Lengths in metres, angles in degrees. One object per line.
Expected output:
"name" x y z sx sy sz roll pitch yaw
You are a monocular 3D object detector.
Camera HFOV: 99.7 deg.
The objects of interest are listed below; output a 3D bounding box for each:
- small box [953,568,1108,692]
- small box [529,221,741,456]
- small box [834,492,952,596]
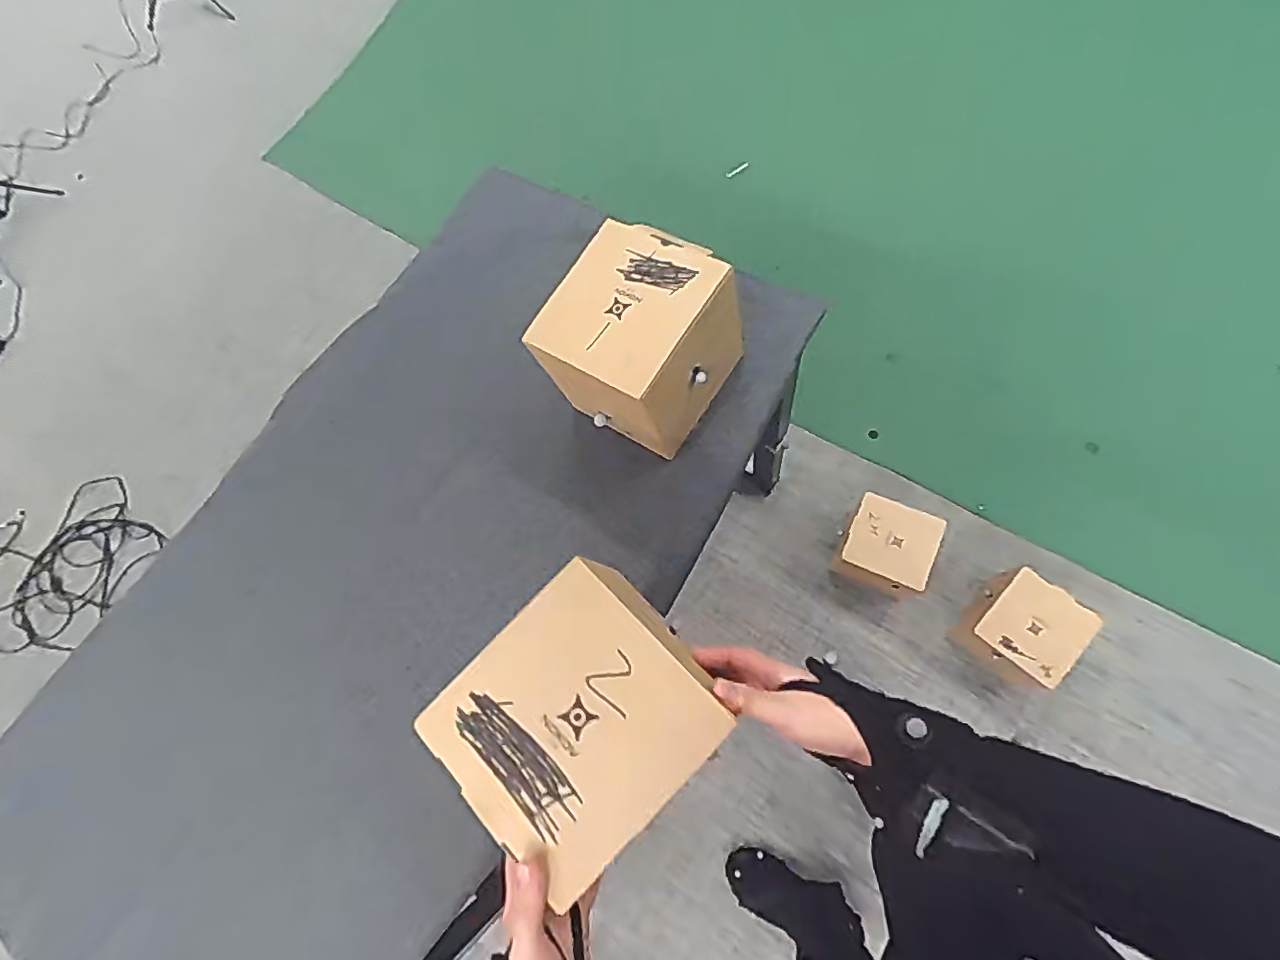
"small box" 0.791 0.308 1.120 0.168 0.176 0.179 41 84 19
"small box" 0.007 -0.158 0.640 0.168 0.176 0.179 31 82 23
"small box" 0.558 0.151 1.215 0.179 0.176 0.168 23 78 17
